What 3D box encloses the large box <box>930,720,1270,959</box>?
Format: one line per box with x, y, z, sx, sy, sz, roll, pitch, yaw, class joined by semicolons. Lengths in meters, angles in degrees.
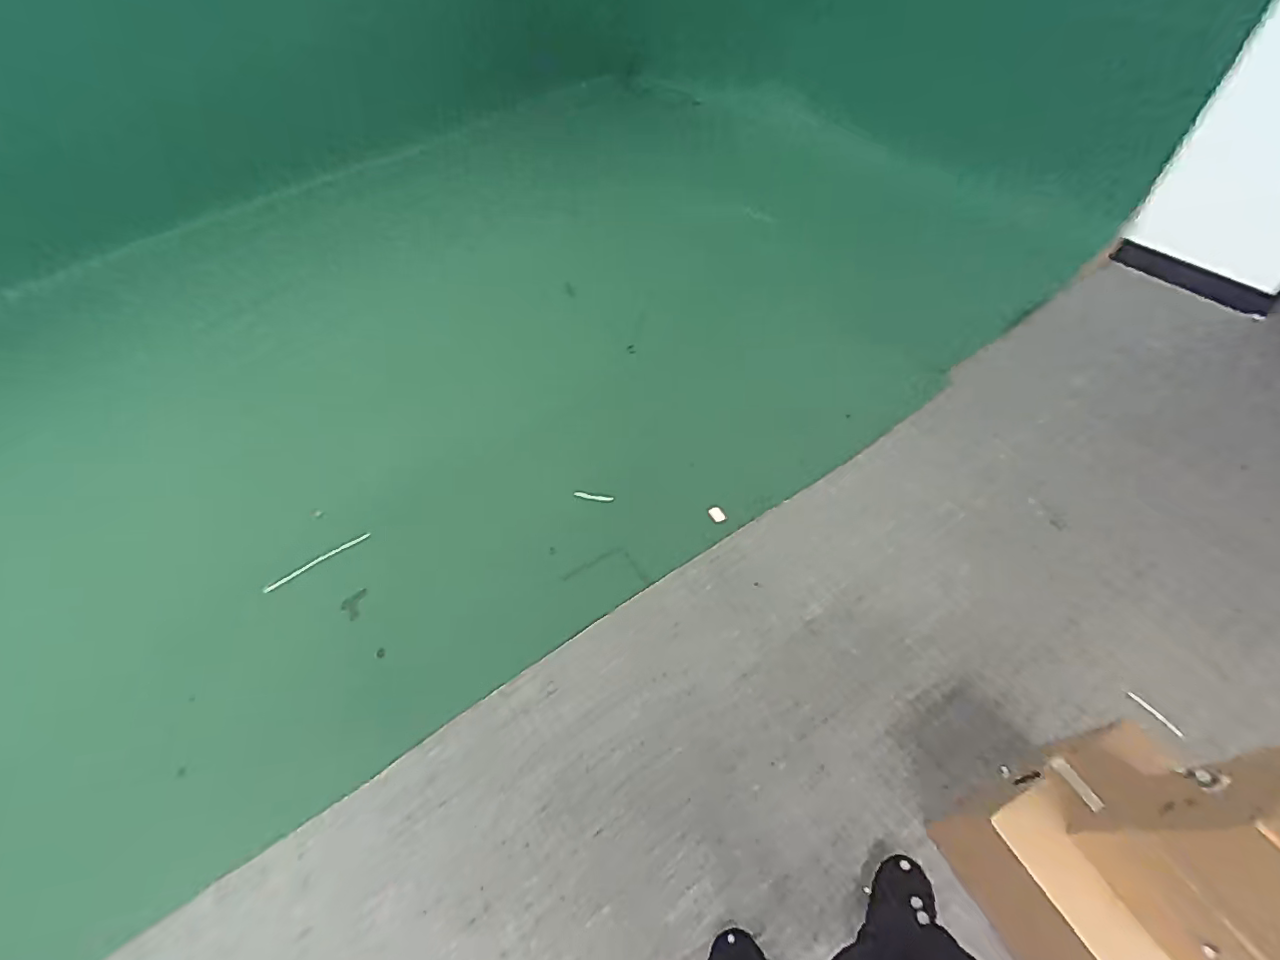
0.777;0.677;0.872;0.320;0.320;0.408;-27;57;-10;large box

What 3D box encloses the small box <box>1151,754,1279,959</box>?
0.723;0.408;0.569;0.168;0.176;0.179;-28;56;-13;small box
